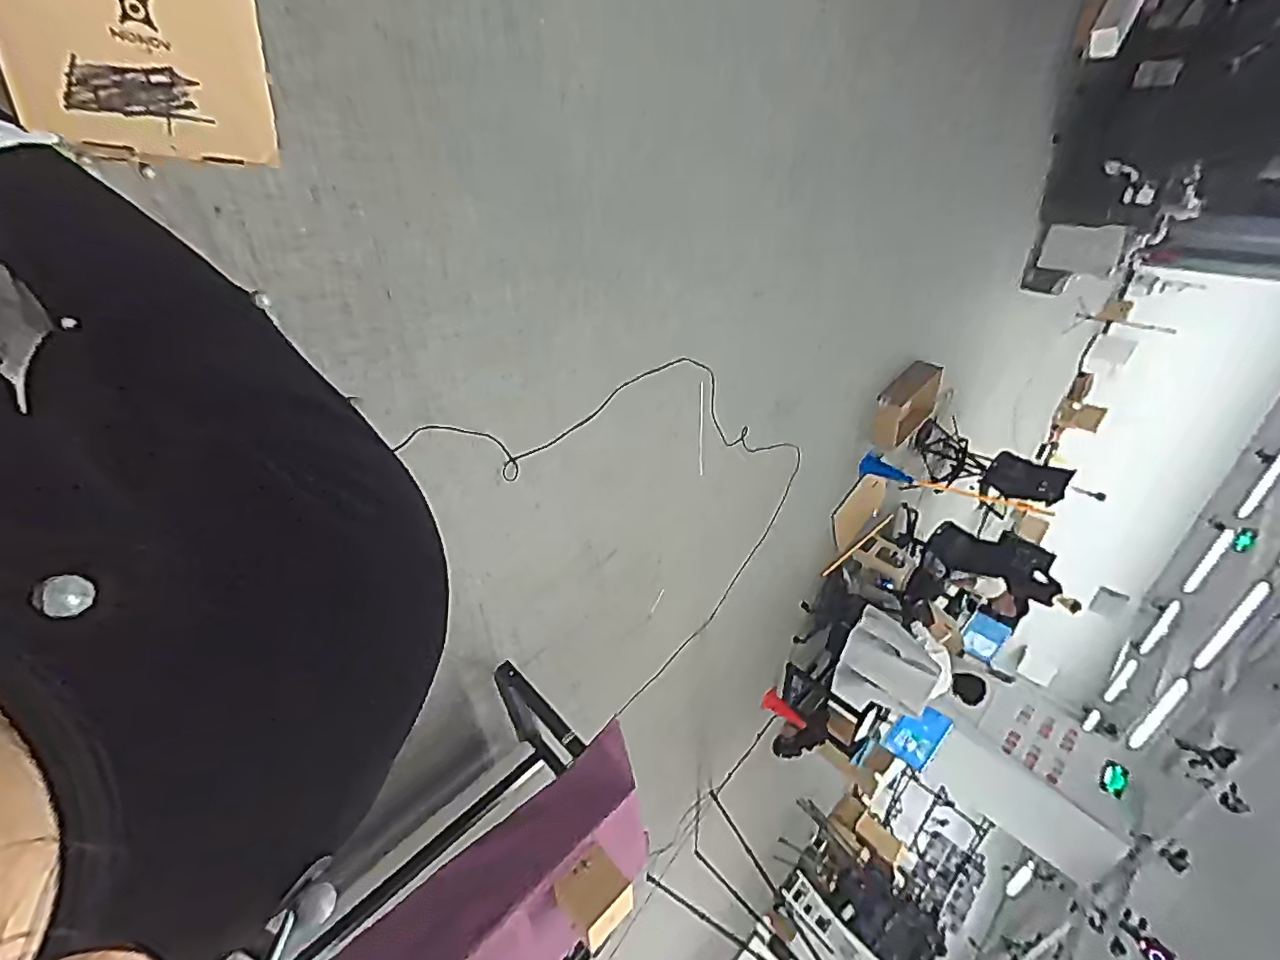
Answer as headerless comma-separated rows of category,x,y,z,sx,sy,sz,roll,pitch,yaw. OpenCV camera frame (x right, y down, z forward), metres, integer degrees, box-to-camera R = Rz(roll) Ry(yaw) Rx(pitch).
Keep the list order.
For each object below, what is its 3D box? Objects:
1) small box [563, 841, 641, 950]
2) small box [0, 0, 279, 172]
small box,-0.114,1.235,1.620,0.168,0.176,0.179,-28,130,-35
small box,-0.438,-0.371,0.462,0.168,0.176,0.179,-19,123,-40
